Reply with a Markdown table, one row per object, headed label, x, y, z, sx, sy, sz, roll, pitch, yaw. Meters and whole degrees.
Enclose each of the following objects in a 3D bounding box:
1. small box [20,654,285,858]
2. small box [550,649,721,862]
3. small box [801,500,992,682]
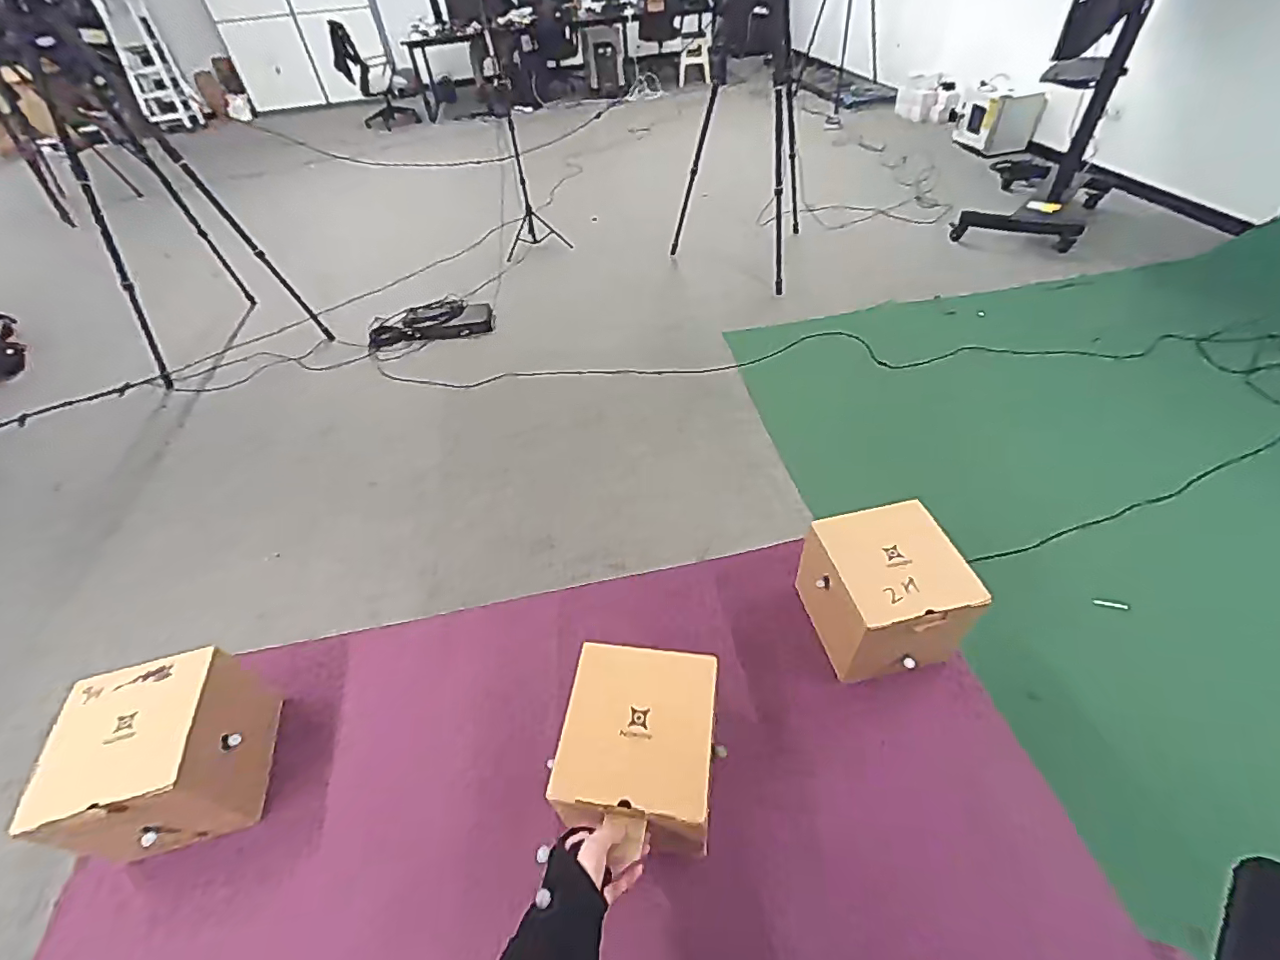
| label | x | y | z | sx | sy | sz | roll | pitch | yaw |
| --- | --- | --- | --- | --- | --- | --- | --- | --- | --- |
| small box | -0.592 | 0.357 | 0.693 | 0.168 | 0.176 | 0.179 | -14 | 47 | -8 |
| small box | 0.007 | 0.330 | 0.651 | 0.168 | 0.176 | 0.179 | 4 | 48 | 10 |
| small box | 0.345 | 0.158 | 0.772 | 0.168 | 0.176 | 0.179 | -12 | 47 | -3 |
